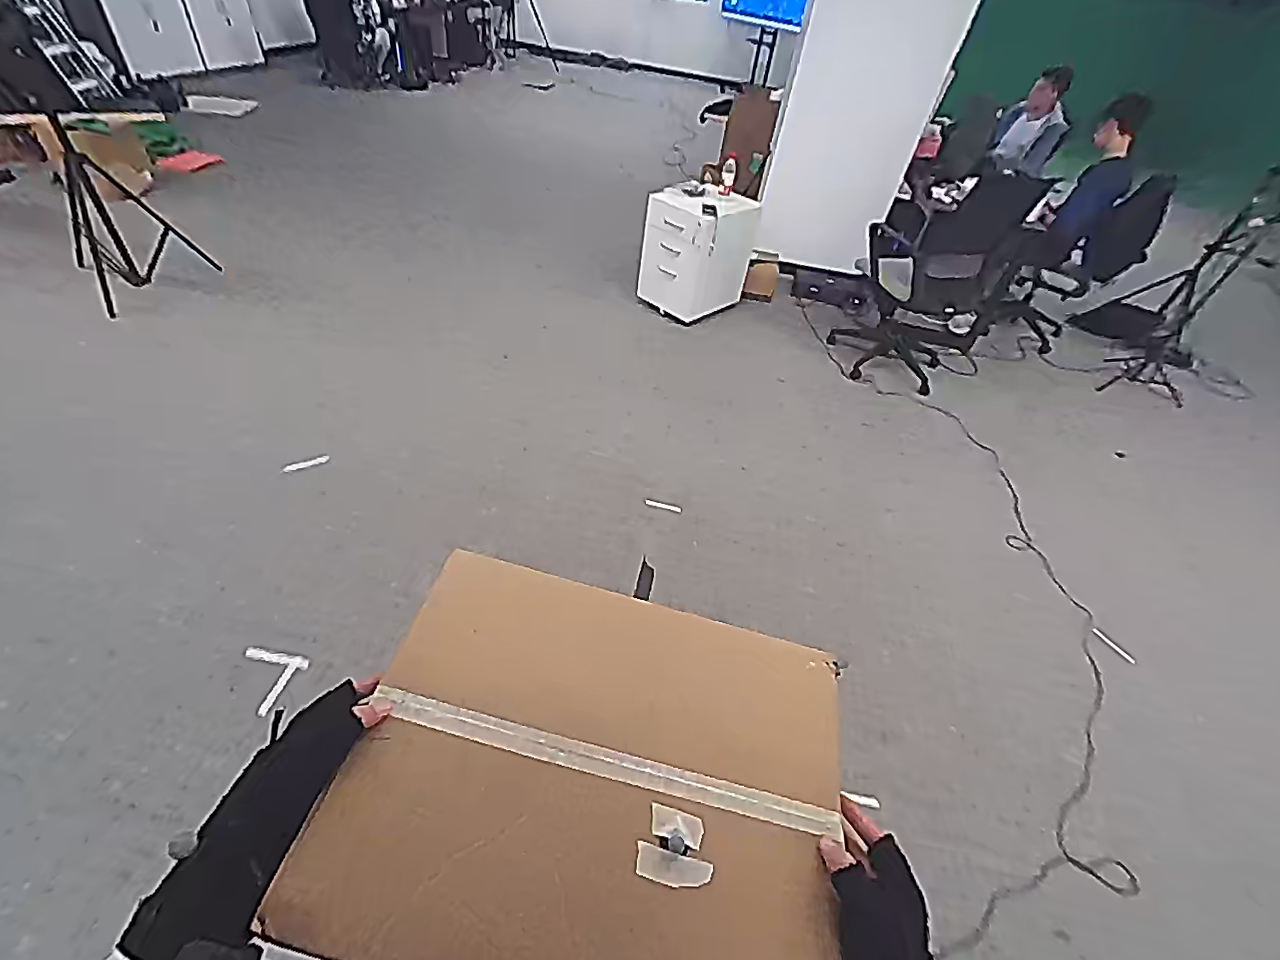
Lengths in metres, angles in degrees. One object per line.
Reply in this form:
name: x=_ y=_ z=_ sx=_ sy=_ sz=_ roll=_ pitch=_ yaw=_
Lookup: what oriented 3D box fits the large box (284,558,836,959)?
large box: x=-0.054 y=0.334 z=0.578 sx=0.408 sy=0.320 sz=0.320 roll=15 pitch=49 yaw=0
